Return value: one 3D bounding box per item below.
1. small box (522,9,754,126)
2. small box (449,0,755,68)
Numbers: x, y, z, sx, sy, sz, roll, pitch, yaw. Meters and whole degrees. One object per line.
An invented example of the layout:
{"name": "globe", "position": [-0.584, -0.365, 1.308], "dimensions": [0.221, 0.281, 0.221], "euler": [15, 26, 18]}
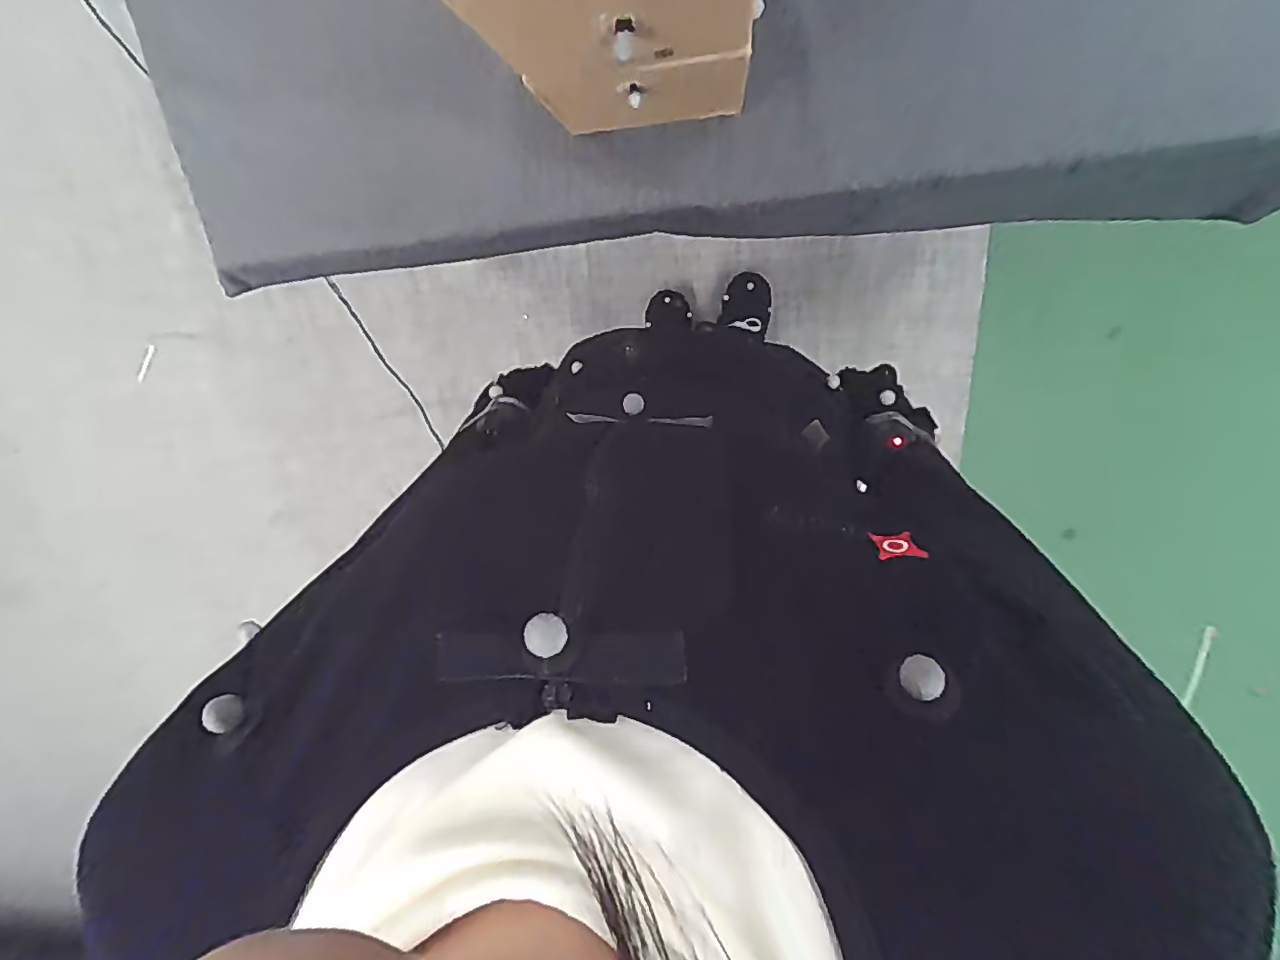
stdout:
{"name": "small box", "position": [0.002, -0.415, 0.450], "dimensions": [0.179, 0.176, 0.168], "euler": [-2, 112, 8]}
{"name": "small box", "position": [-0.020, -0.359, 0.298], "dimensions": [0.168, 0.176, 0.179], "euler": [-3, 112, 10]}
